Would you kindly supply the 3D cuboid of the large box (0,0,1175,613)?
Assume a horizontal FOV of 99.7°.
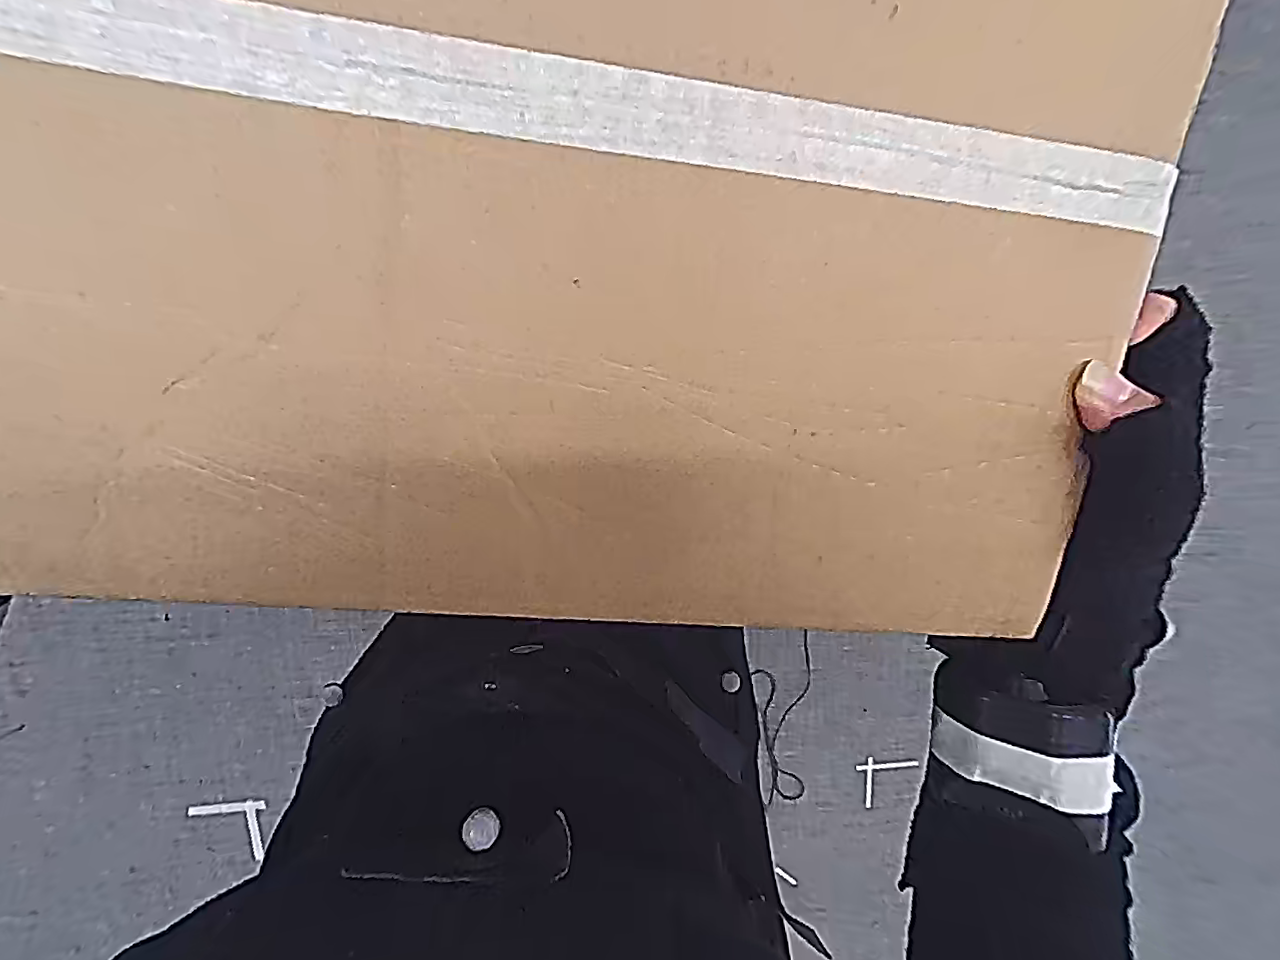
[{"bbox_3d":[-0.049,-0.141,0.306,0.408,0.320,0.320,4,103,-8],"label":"large box"}]
